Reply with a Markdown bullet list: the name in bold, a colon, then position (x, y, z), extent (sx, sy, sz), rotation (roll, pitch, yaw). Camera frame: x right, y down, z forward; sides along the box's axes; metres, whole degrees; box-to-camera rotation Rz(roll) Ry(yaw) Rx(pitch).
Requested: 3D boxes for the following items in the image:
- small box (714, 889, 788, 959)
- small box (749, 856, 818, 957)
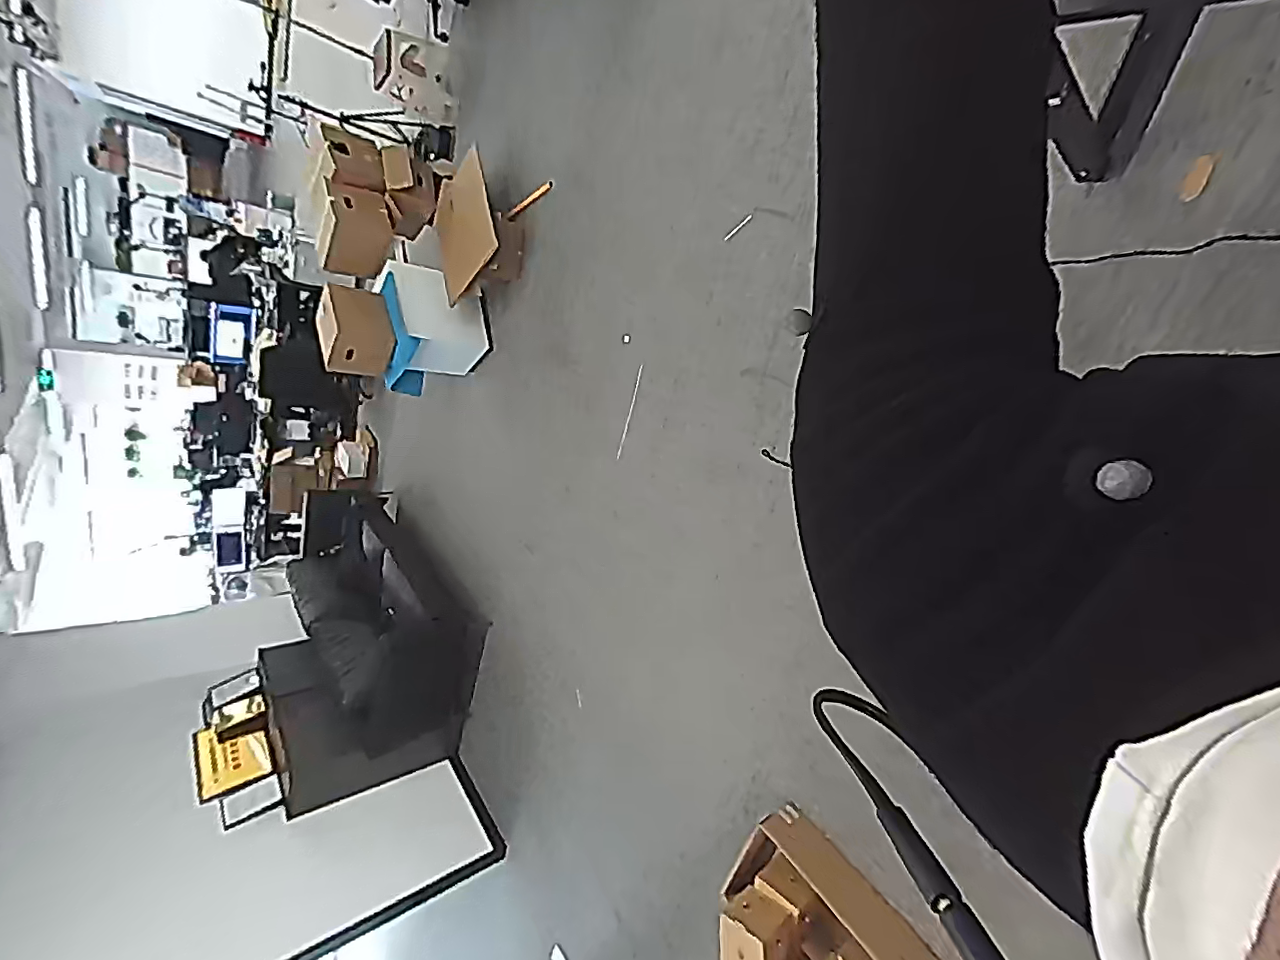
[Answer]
- **small box**: position (0.351, 1.451, 1.705), extent (0.168, 0.176, 0.179), rotation (0, 91, 47)
- **small box**: position (0.475, 1.418, 1.811), extent (0.168, 0.176, 0.179), rotation (15, 102, 46)
